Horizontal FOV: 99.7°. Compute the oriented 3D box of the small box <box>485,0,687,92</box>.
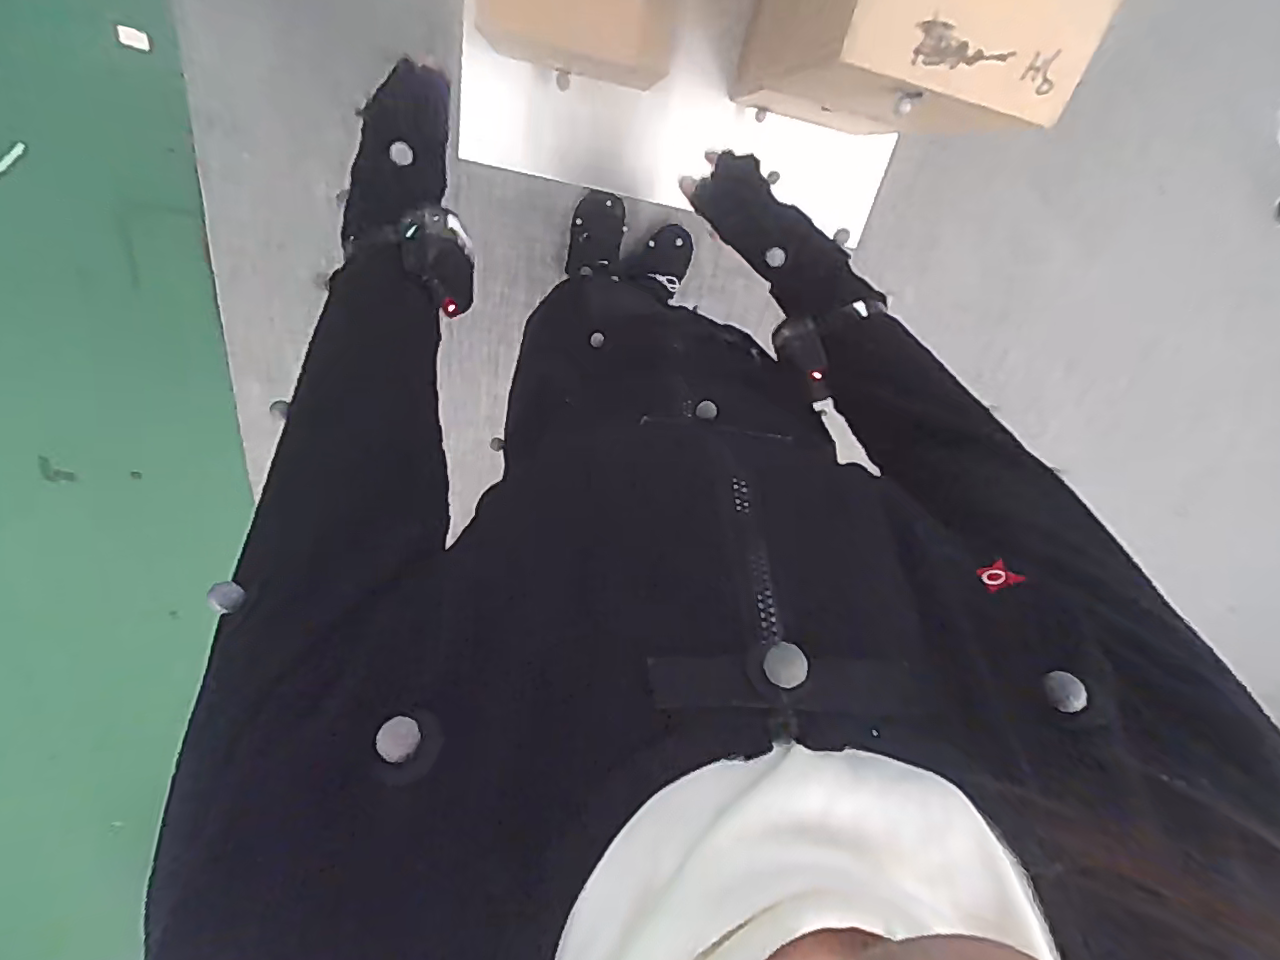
[{"bbox_3d":[-0.042,-0.473,0.485,0.168,0.176,0.179,5,122,-8],"label":"small box"}]

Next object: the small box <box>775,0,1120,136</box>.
[{"bbox_3d":[0.214,-0.365,0.381,0.168,0.176,0.179,9,119,-10],"label":"small box"}]
